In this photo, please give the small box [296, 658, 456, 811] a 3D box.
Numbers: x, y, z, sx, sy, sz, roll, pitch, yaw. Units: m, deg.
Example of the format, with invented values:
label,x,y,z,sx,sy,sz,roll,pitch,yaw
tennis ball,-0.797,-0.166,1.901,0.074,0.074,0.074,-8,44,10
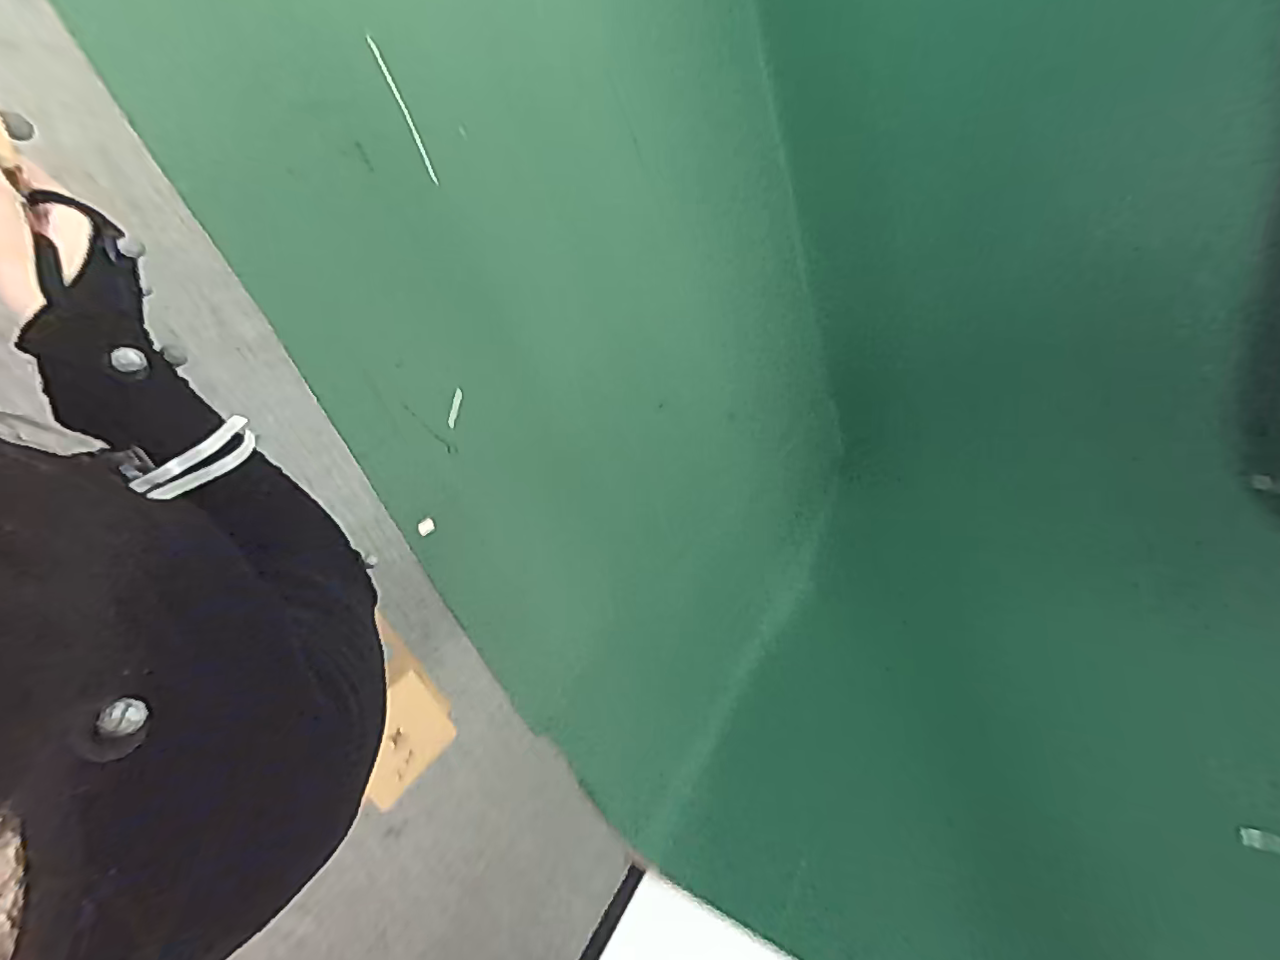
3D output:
label,x,y,z,sx,sy,sz,roll,pitch,yaw
small box,-0.479,0.446,0.982,0.168,0.176,0.179,-43,123,-39
